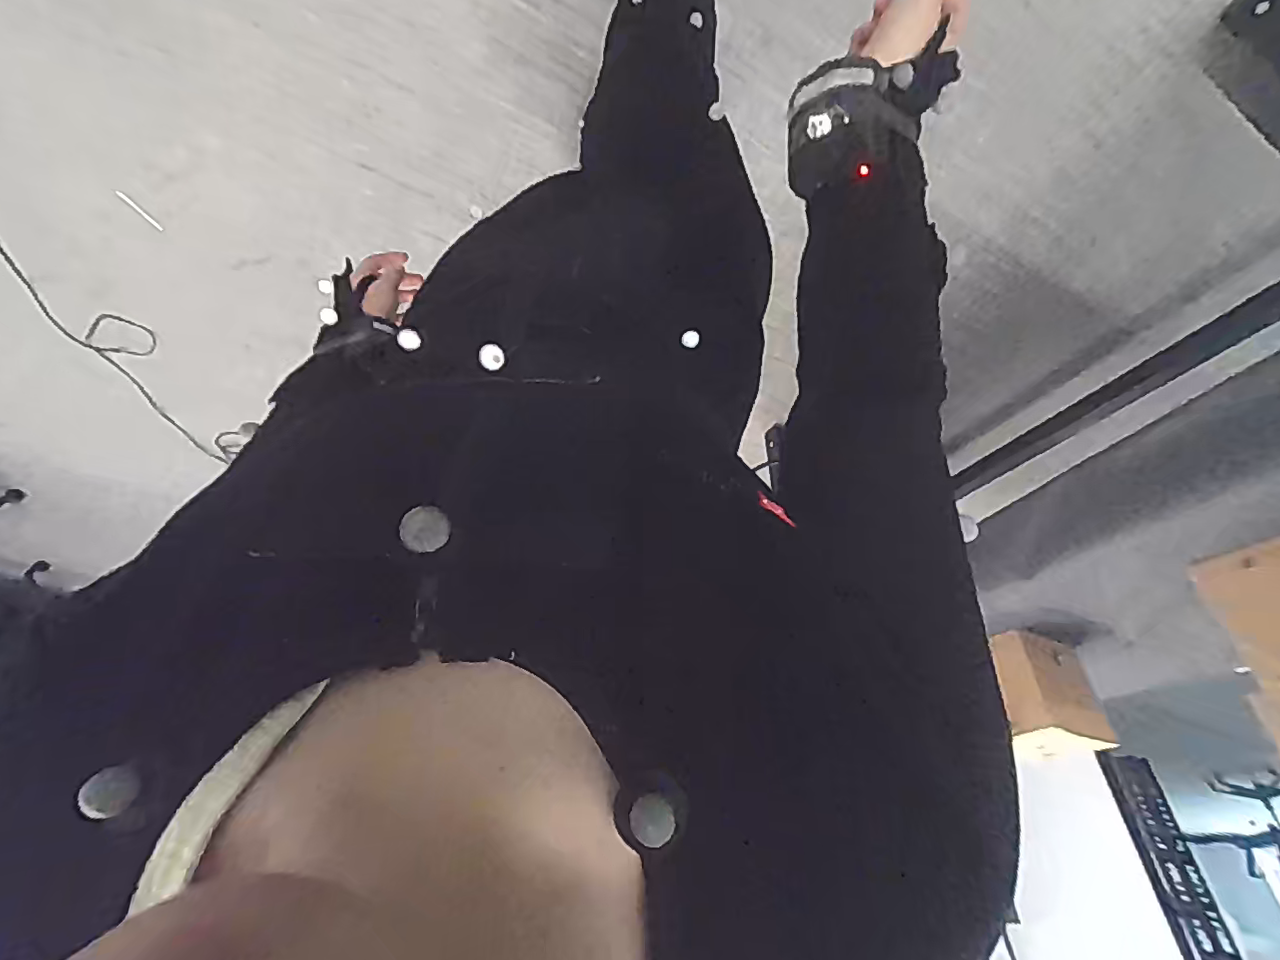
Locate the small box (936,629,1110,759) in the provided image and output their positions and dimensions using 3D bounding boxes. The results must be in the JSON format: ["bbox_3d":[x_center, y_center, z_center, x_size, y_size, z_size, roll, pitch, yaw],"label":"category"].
[{"bbox_3d":[0.676,0.385,0.977,0.179,0.176,0.168,21,139,-20],"label":"small box"}]

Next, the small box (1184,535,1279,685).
[{"bbox_3d":[0.867,0.171,0.689,0.179,0.176,0.168,21,139,-22],"label":"small box"}]
